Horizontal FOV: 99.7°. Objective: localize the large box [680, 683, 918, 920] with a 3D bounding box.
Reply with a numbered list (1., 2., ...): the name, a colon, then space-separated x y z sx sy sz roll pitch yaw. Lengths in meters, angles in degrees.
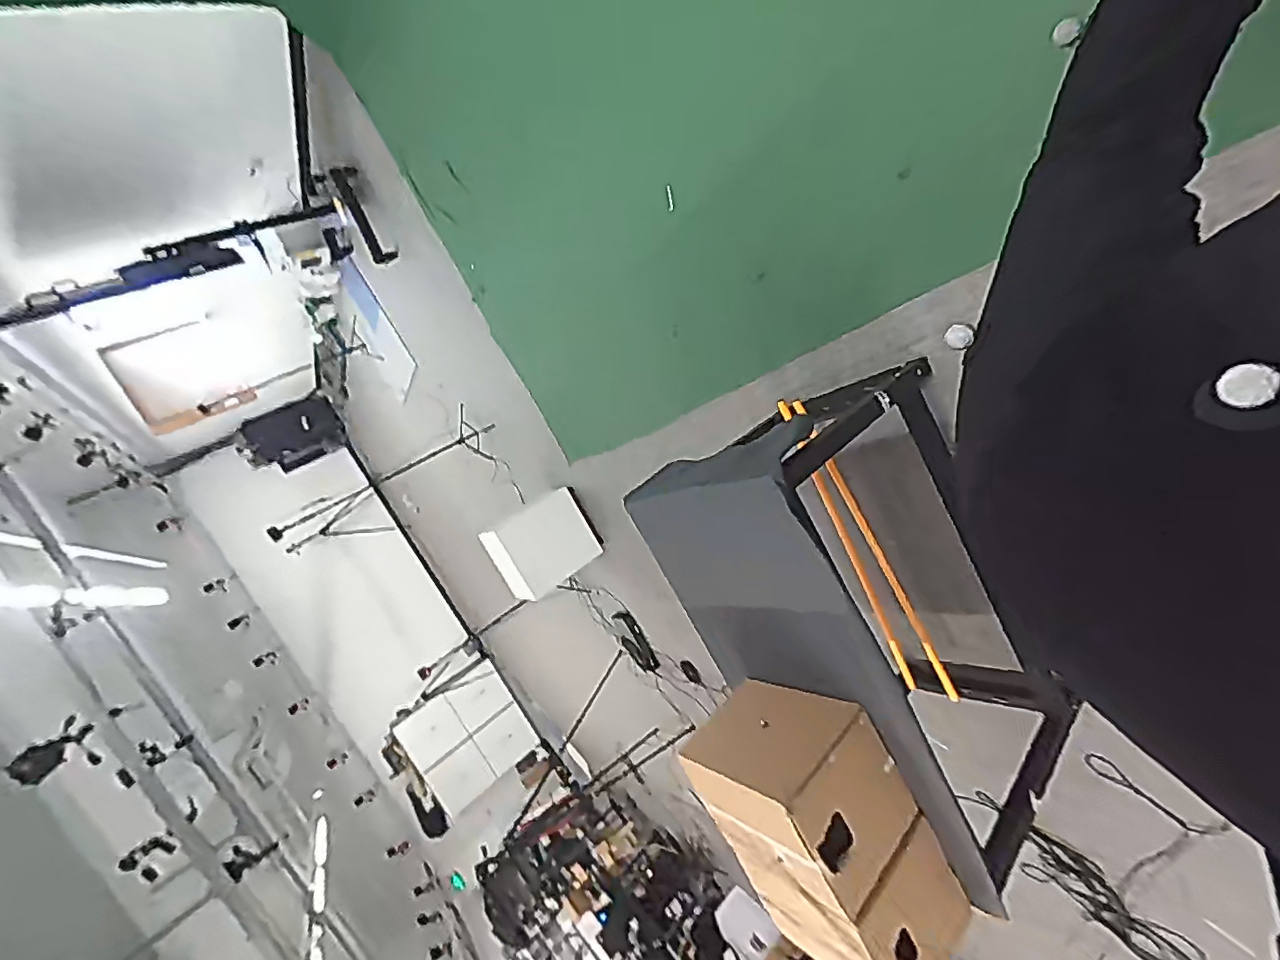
1. large box: 0.379 0.745 1.339 0.408 0.320 0.320 -20 102 58
